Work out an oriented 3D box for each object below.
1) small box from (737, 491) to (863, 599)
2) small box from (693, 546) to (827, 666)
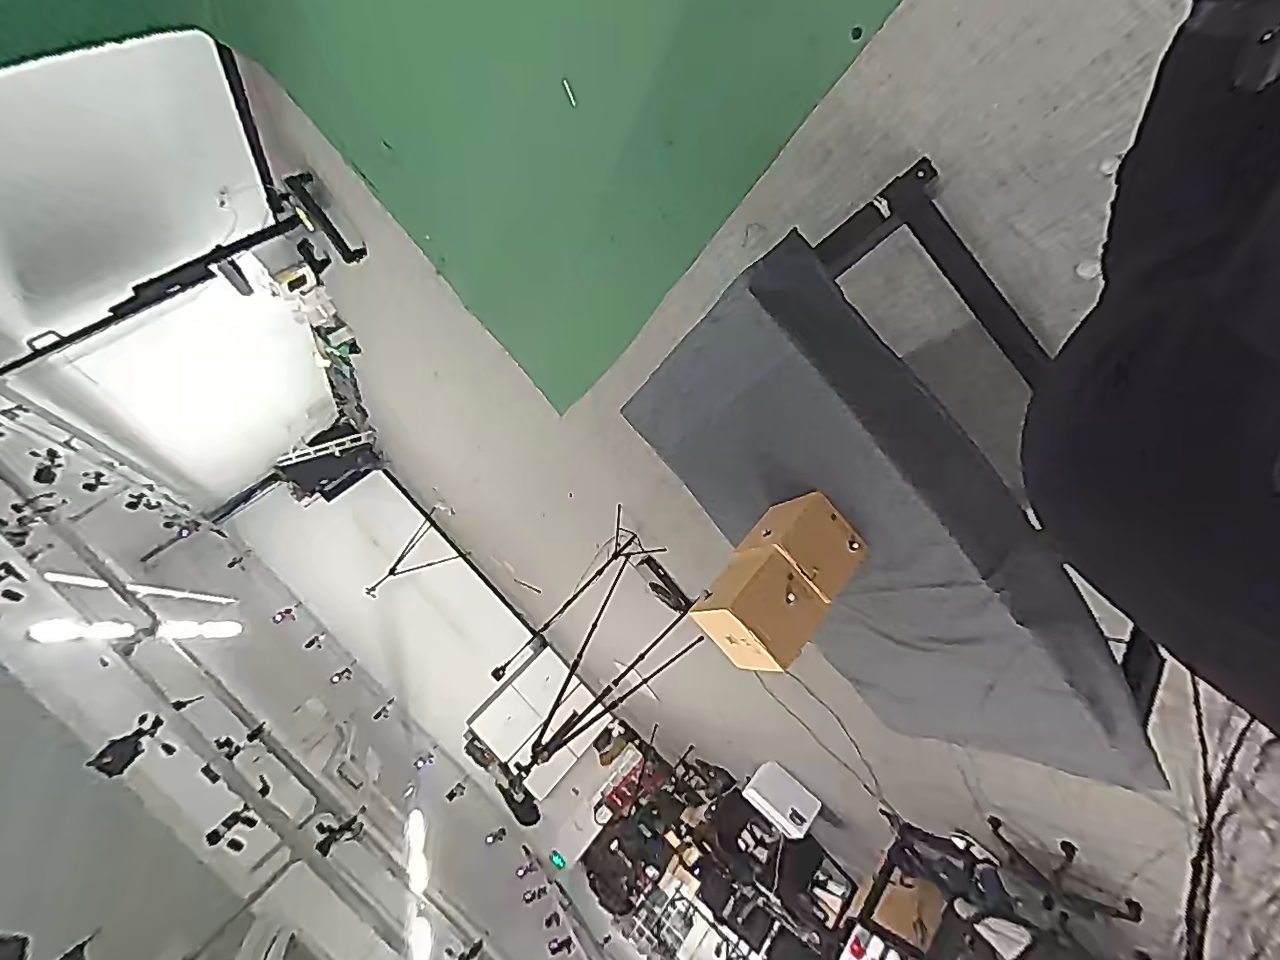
[{"bbox_3d":[0.353,0.144,1.175,0.168,0.176,0.179,49,155,-4],"label":"small box"},{"bbox_3d":[0.248,0.259,1.118,0.168,0.176,0.179,48,154,-3],"label":"small box"}]
